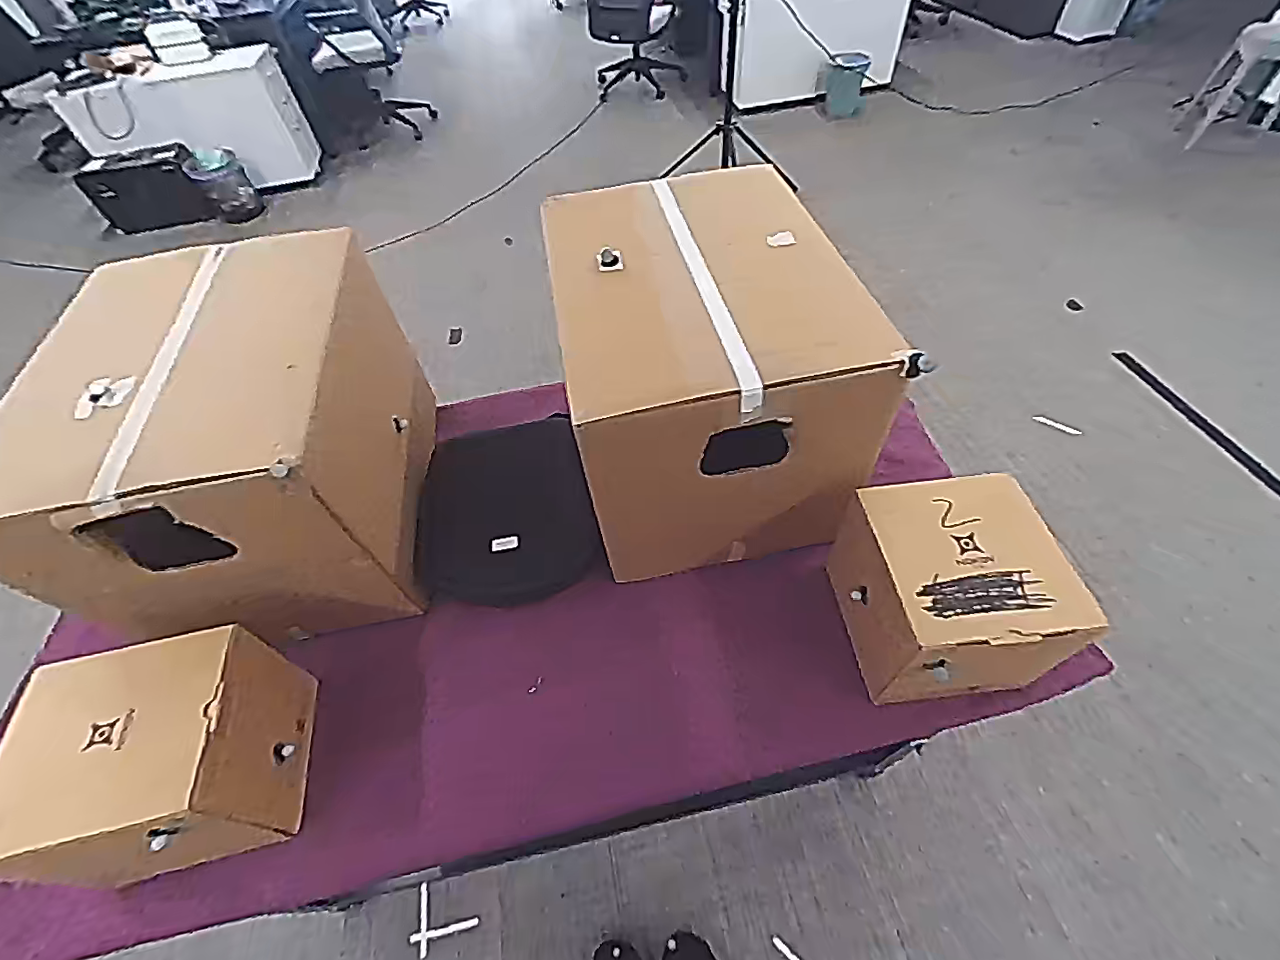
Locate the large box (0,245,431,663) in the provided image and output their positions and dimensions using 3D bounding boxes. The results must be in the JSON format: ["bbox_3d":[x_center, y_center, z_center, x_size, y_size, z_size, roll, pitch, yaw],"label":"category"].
[{"bbox_3d":[-0.473,-0.035,0.695,0.320,0.320,0.408,-12,55,-4],"label":"large box"}]
